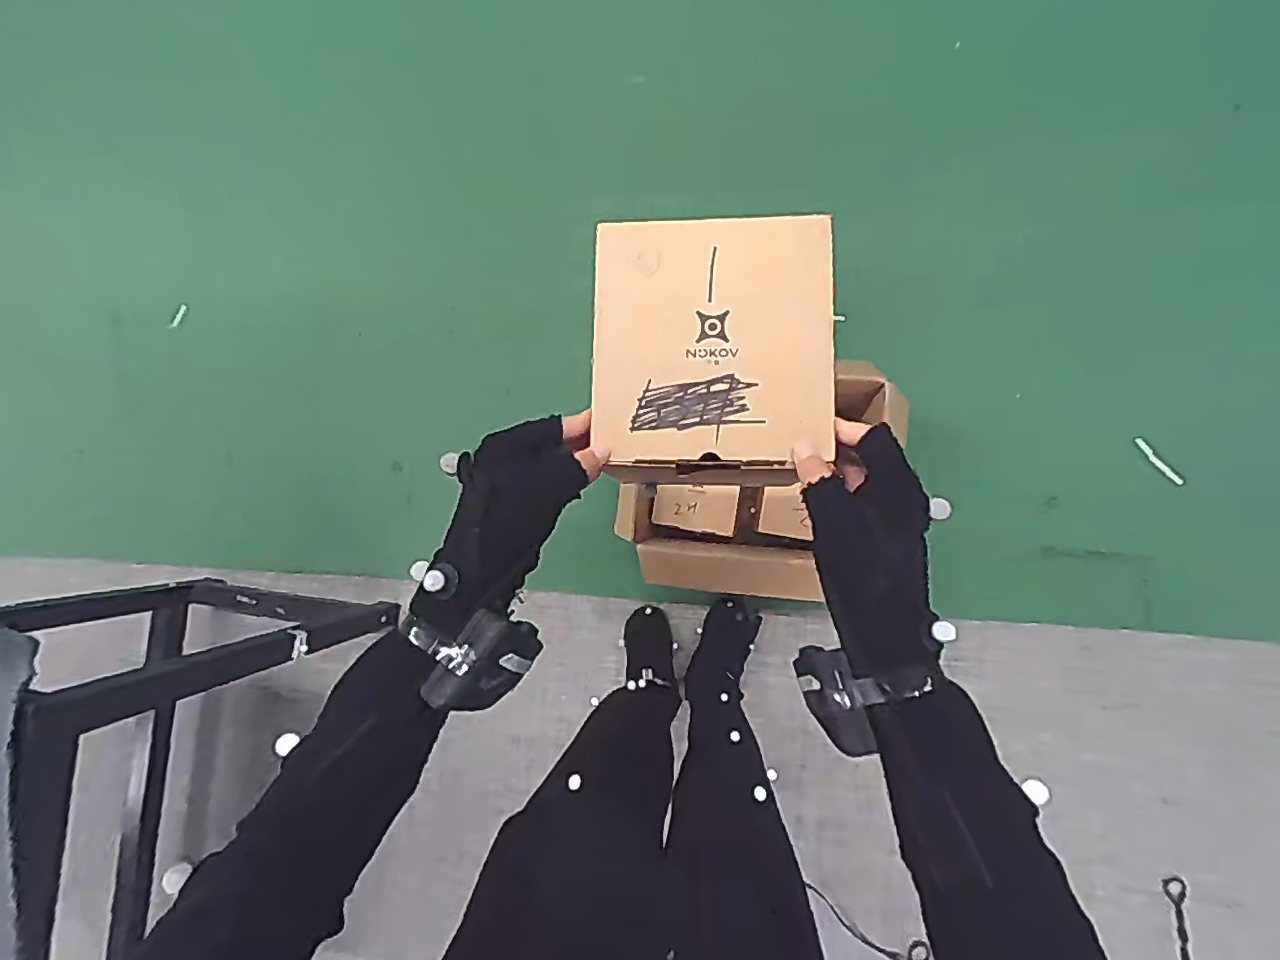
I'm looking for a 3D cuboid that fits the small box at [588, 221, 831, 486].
[{"bbox_3d":[0.056,-0.088,0.453,0.168,0.176,0.179,1,84,6],"label":"small box"}]
